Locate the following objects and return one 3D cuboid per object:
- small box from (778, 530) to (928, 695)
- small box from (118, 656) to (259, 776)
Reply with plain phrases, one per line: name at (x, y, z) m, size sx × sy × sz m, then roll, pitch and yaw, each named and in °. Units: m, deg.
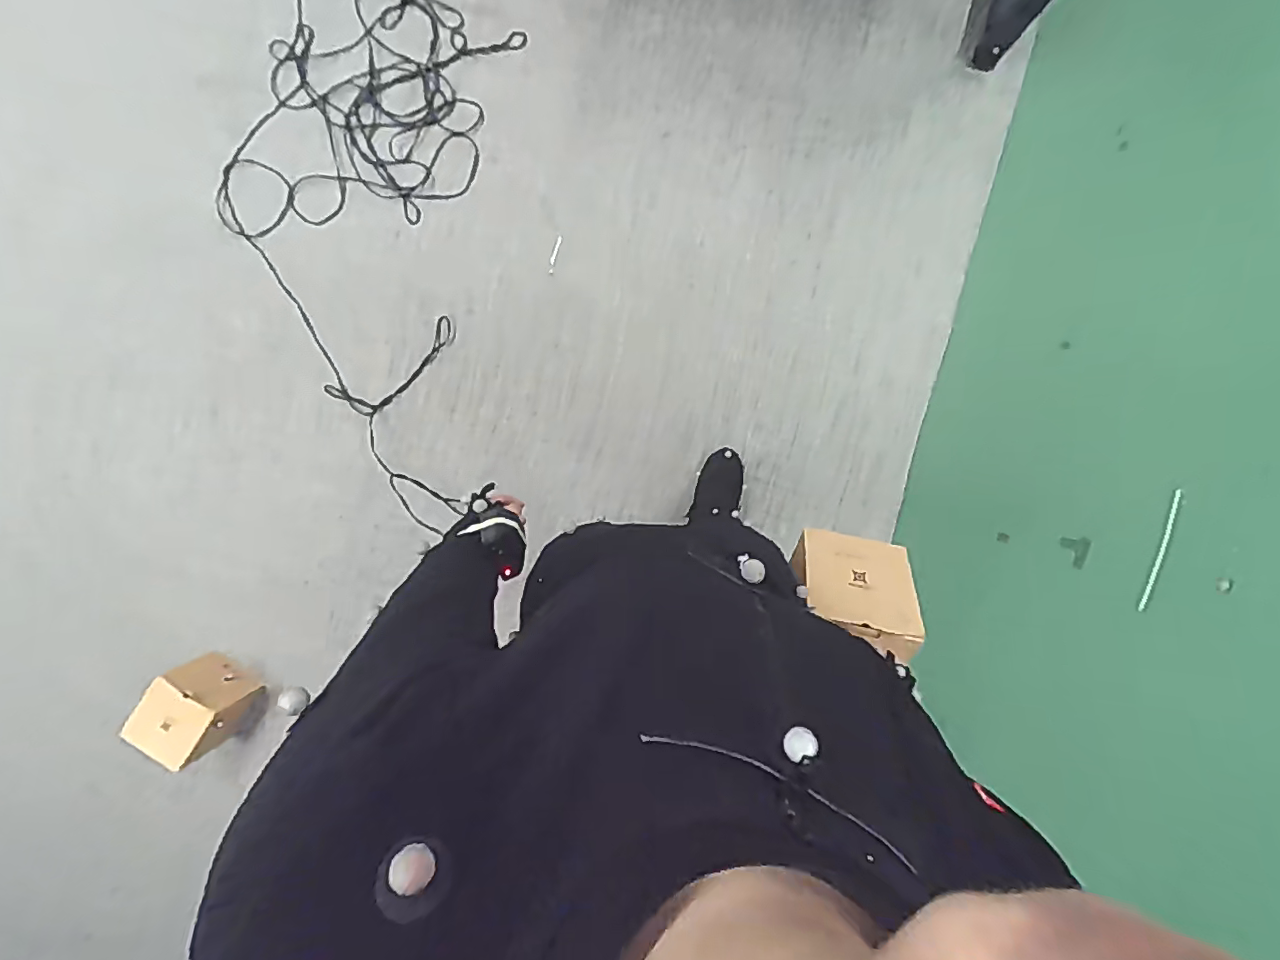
small box at (0.321, 0.211, 0.853) m, size 0.168 × 0.179 × 0.176 m, roll 12°, pitch 131°, yaw 4°
small box at (-1.092, 0.568, 1.324) m, size 0.168 × 0.176 × 0.179 m, roll 34°, pitch 92°, yaw 0°
